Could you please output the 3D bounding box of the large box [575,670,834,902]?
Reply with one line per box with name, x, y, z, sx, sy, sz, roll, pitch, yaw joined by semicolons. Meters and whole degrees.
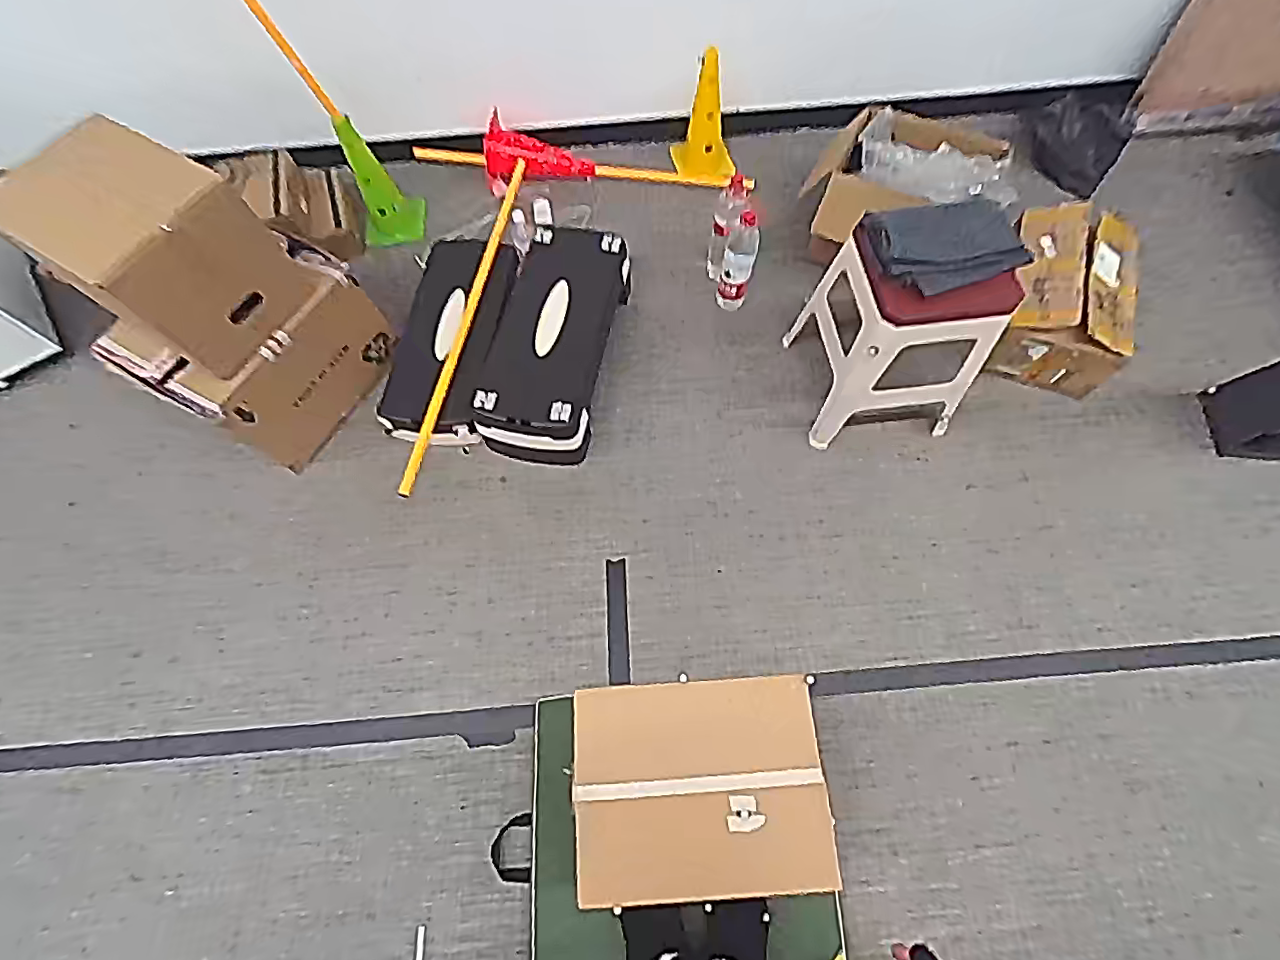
large box;0.094;0.553;1.031;0.408;0.320;0.320;-4;67;-1
